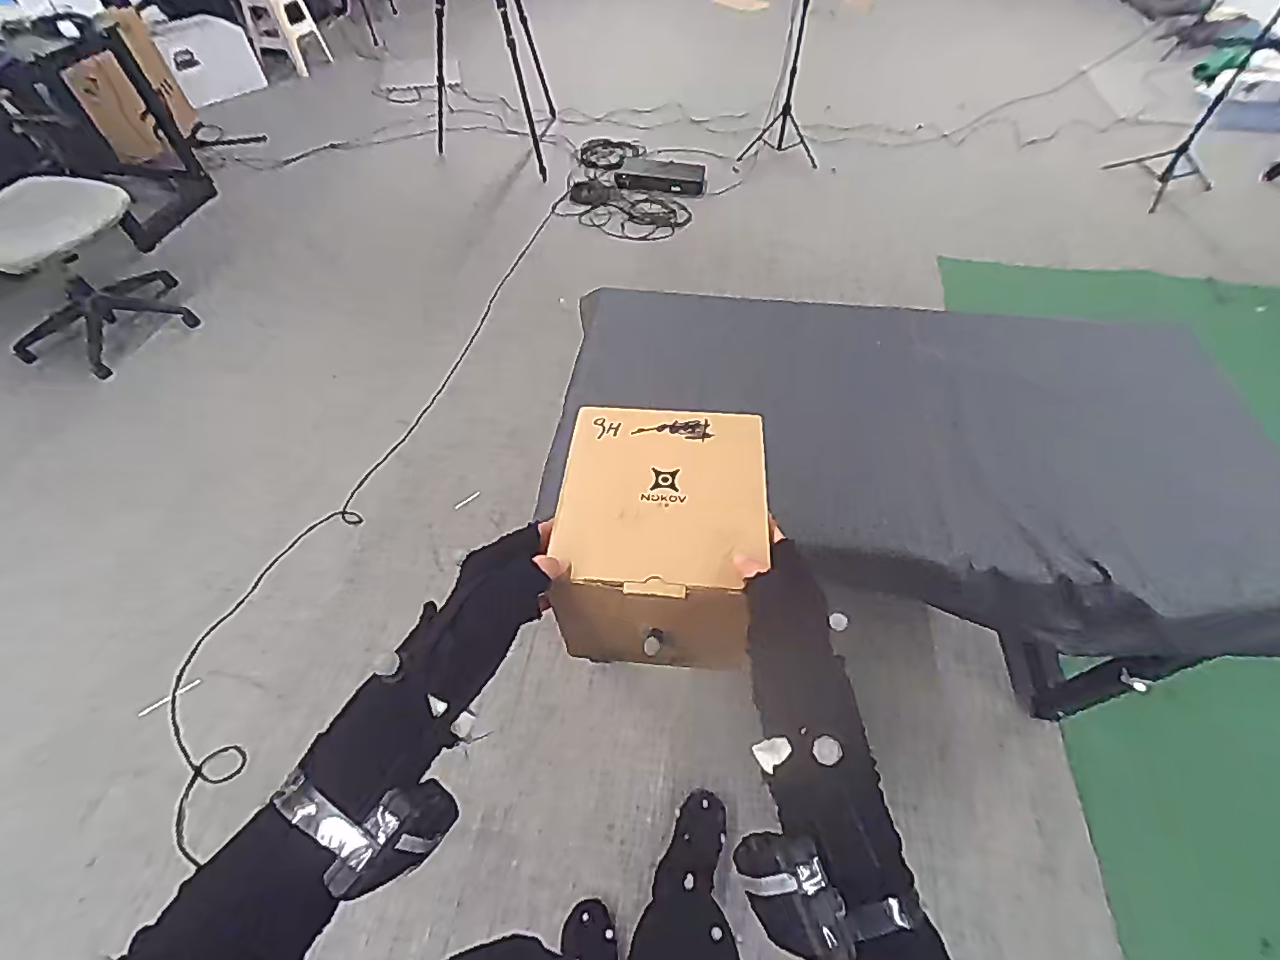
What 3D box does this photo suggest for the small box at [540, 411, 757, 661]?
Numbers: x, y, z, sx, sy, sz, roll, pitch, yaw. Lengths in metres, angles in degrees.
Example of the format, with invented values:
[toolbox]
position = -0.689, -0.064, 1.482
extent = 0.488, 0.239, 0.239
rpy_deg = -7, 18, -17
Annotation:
[small box]
position = 0.017, 0.057, 0.508
extent = 0.168, 0.176, 0.179
rpy_deg = 3, 54, 5
